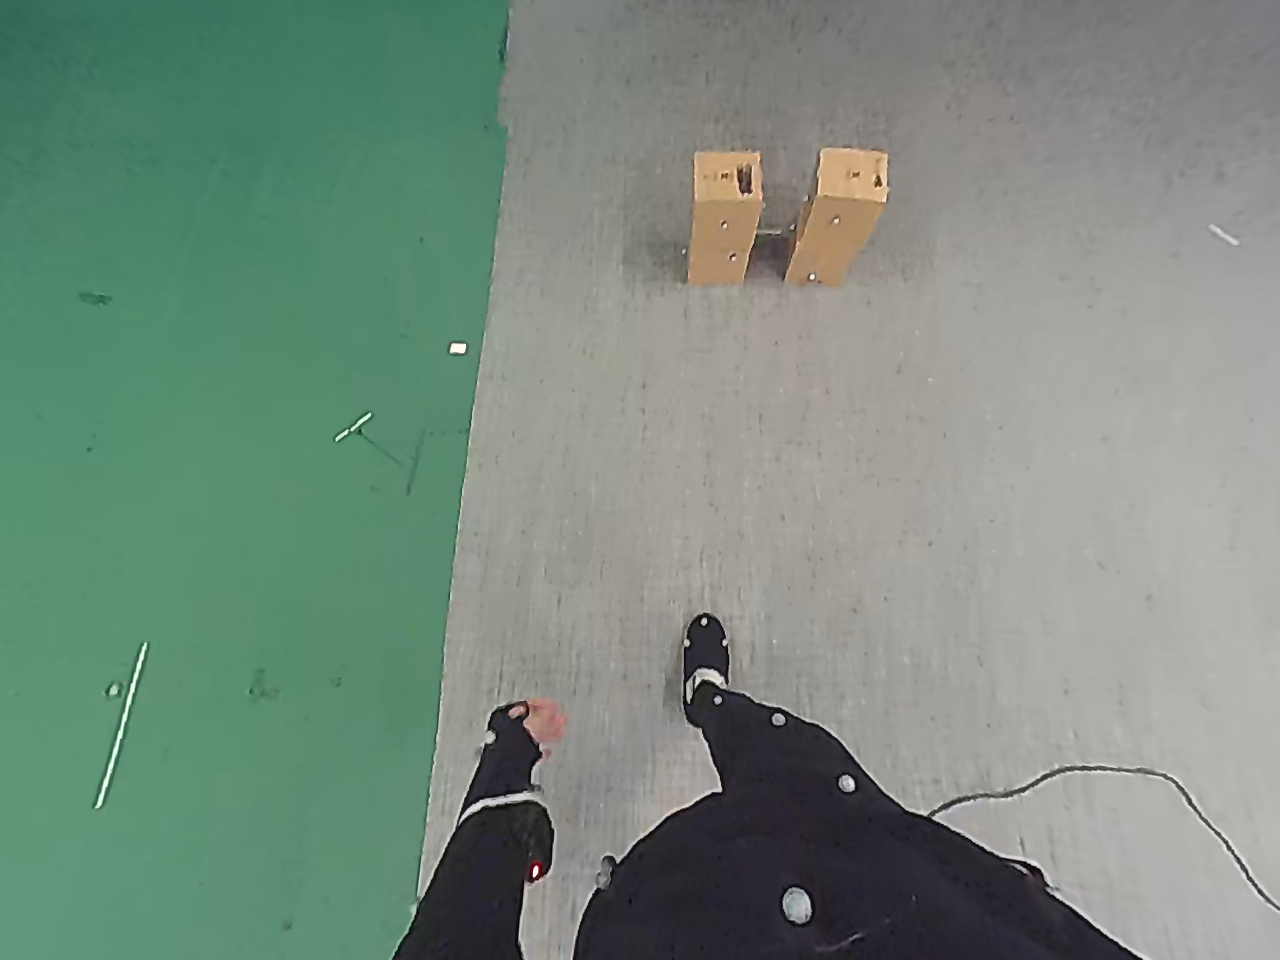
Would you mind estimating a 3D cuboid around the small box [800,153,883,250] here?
[{"bbox_3d":[0.542,-0.752,1.473,0.179,0.176,0.168,8,72,6],"label":"small box"}]

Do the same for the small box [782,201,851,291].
[{"bbox_3d":[0.533,-0.704,1.631,0.168,0.176,0.179,8,72,6],"label":"small box"}]
